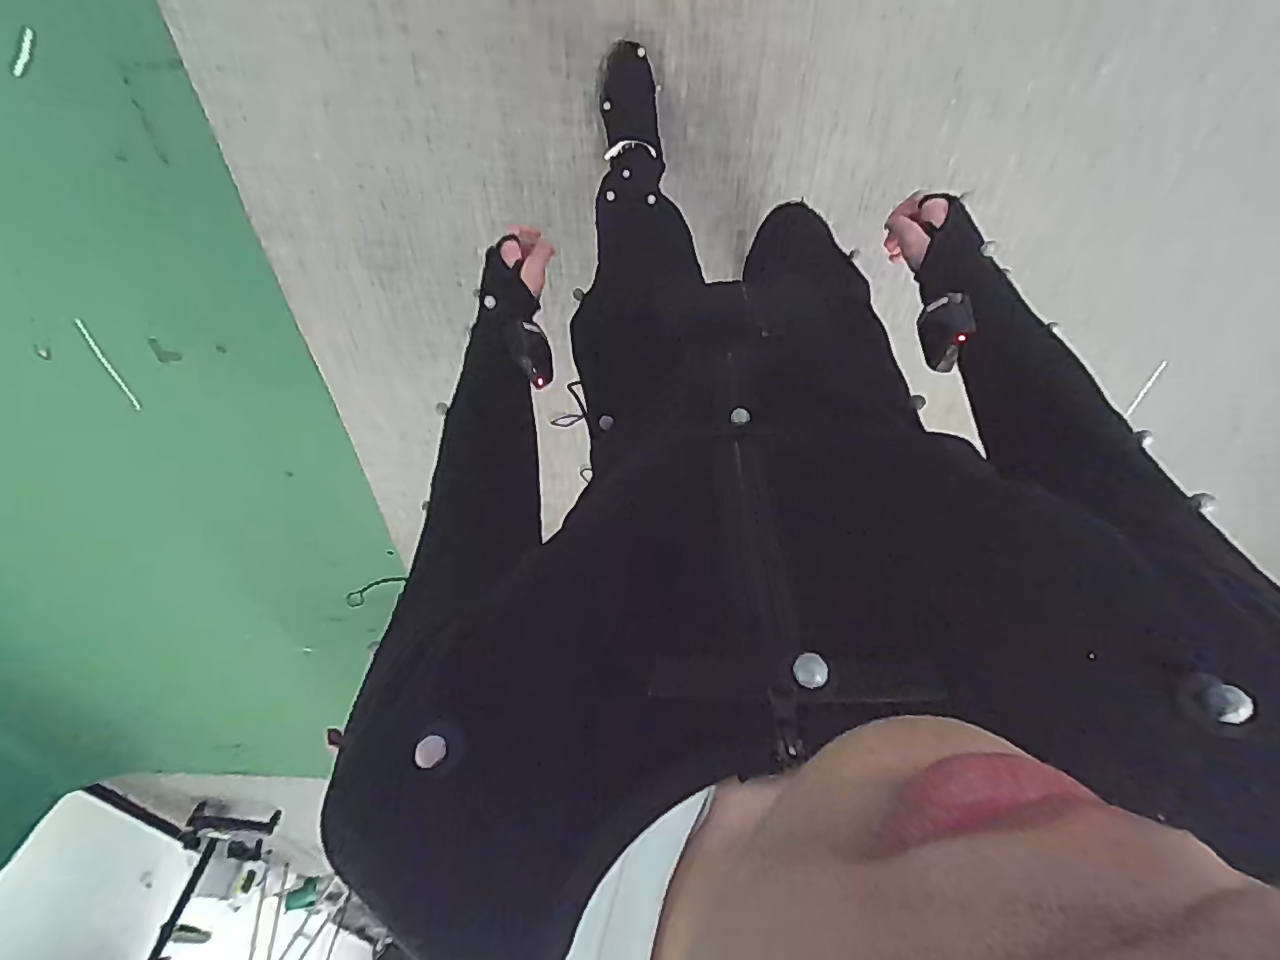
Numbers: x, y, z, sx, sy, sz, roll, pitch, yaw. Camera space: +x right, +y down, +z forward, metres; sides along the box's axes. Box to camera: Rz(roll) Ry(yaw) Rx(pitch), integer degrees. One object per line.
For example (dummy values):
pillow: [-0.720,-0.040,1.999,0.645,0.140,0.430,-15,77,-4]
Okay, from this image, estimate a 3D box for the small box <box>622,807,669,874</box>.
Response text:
small box: [0.020,1.343,2.014,0.168,0.176,0.179,3,130,0]
